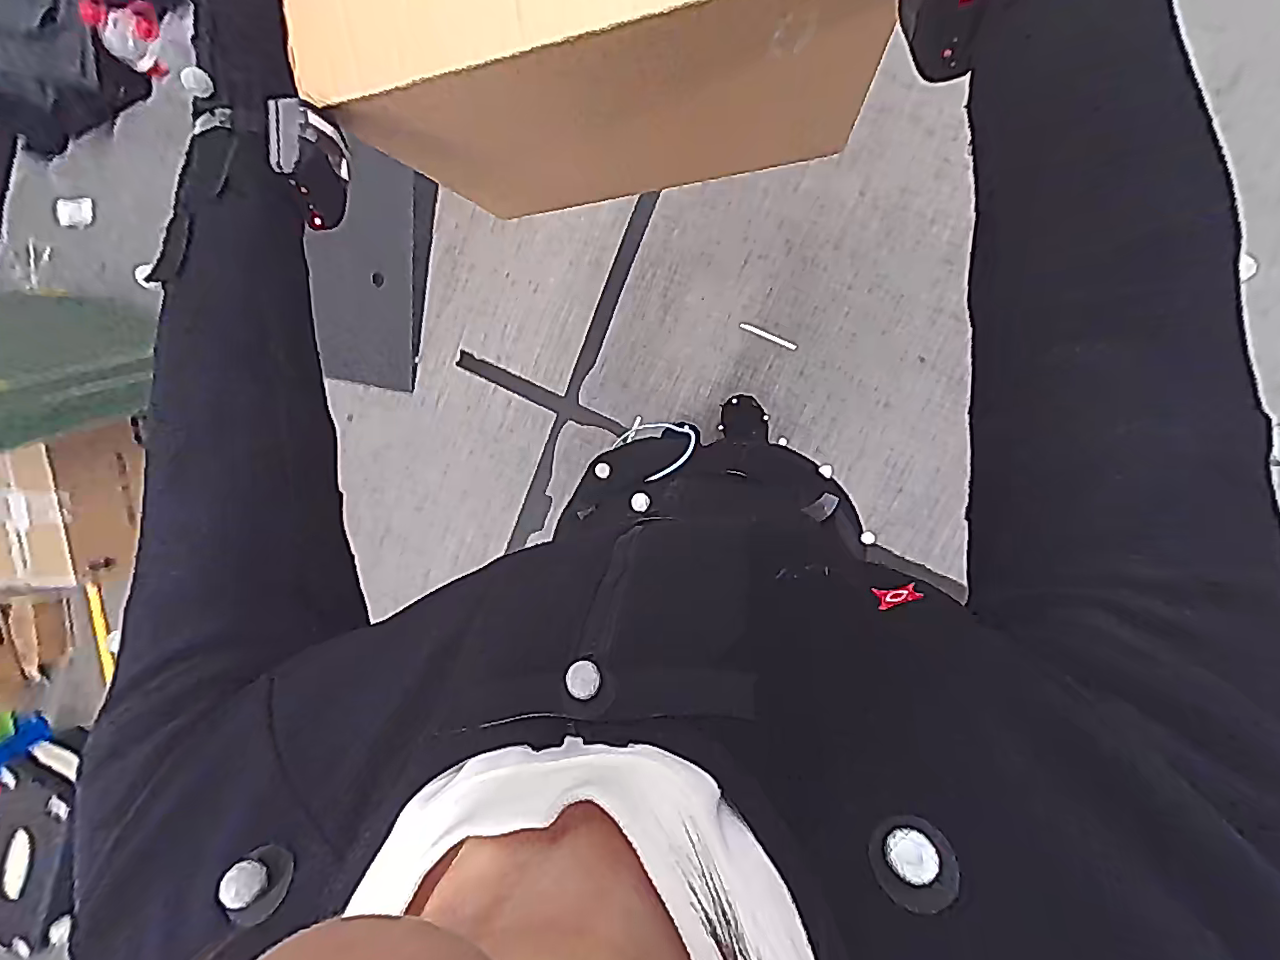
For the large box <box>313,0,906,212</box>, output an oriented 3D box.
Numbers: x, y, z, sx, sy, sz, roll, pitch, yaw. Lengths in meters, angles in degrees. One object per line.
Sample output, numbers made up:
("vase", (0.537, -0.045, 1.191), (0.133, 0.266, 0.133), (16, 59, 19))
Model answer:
("large box", (-0.016, -0.464, 0.458), (0.408, 0.320, 0.320), (-5, 101, 12))
